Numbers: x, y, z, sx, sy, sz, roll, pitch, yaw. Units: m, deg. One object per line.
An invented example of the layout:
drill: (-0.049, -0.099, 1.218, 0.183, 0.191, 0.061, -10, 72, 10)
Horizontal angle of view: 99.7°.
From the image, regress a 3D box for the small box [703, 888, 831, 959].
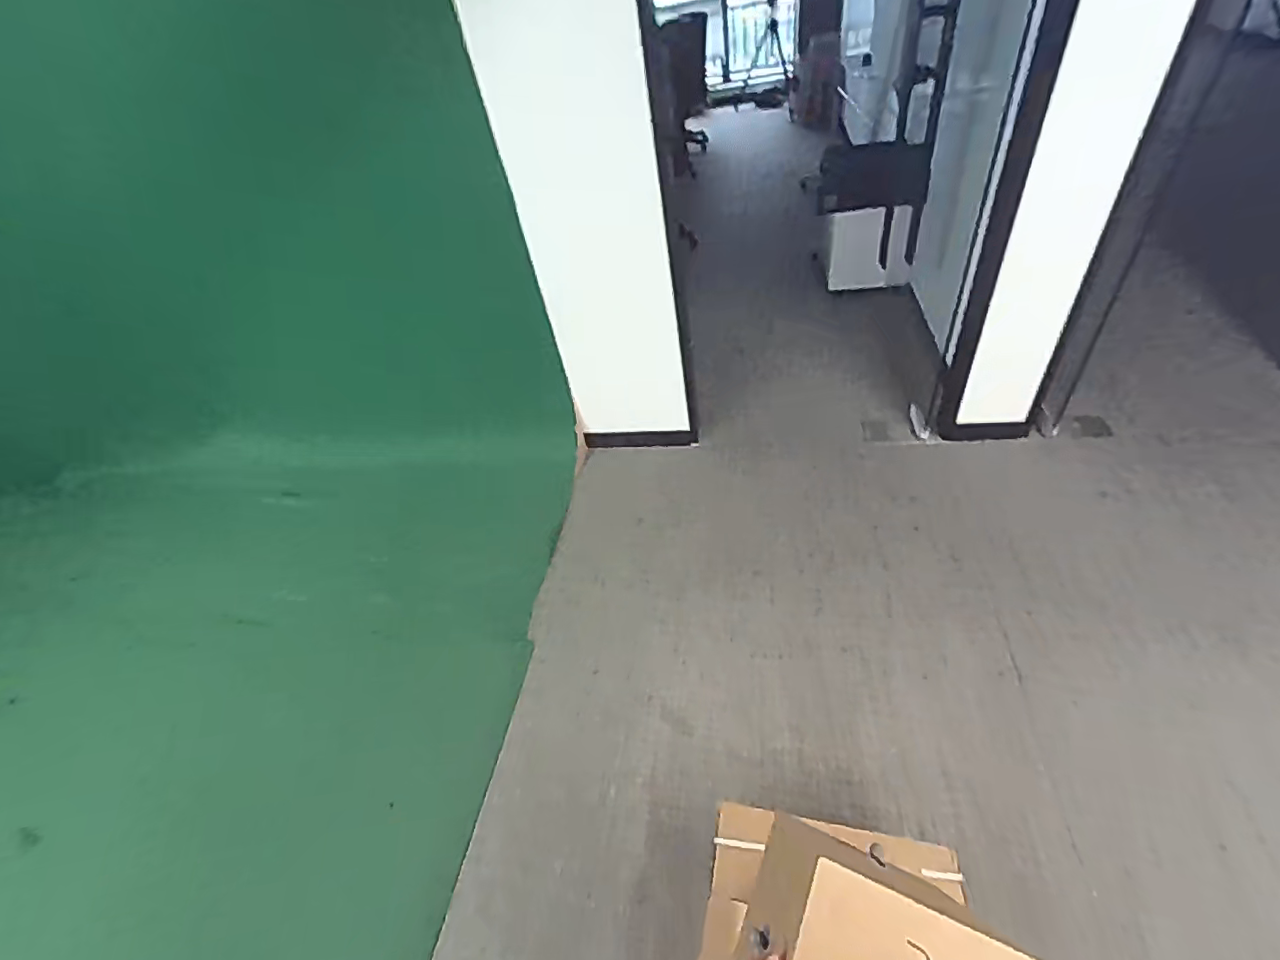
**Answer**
small box: (0.174, 0.725, 0.765, 0.168, 0.176, 0.179, 4, 43, 19)
